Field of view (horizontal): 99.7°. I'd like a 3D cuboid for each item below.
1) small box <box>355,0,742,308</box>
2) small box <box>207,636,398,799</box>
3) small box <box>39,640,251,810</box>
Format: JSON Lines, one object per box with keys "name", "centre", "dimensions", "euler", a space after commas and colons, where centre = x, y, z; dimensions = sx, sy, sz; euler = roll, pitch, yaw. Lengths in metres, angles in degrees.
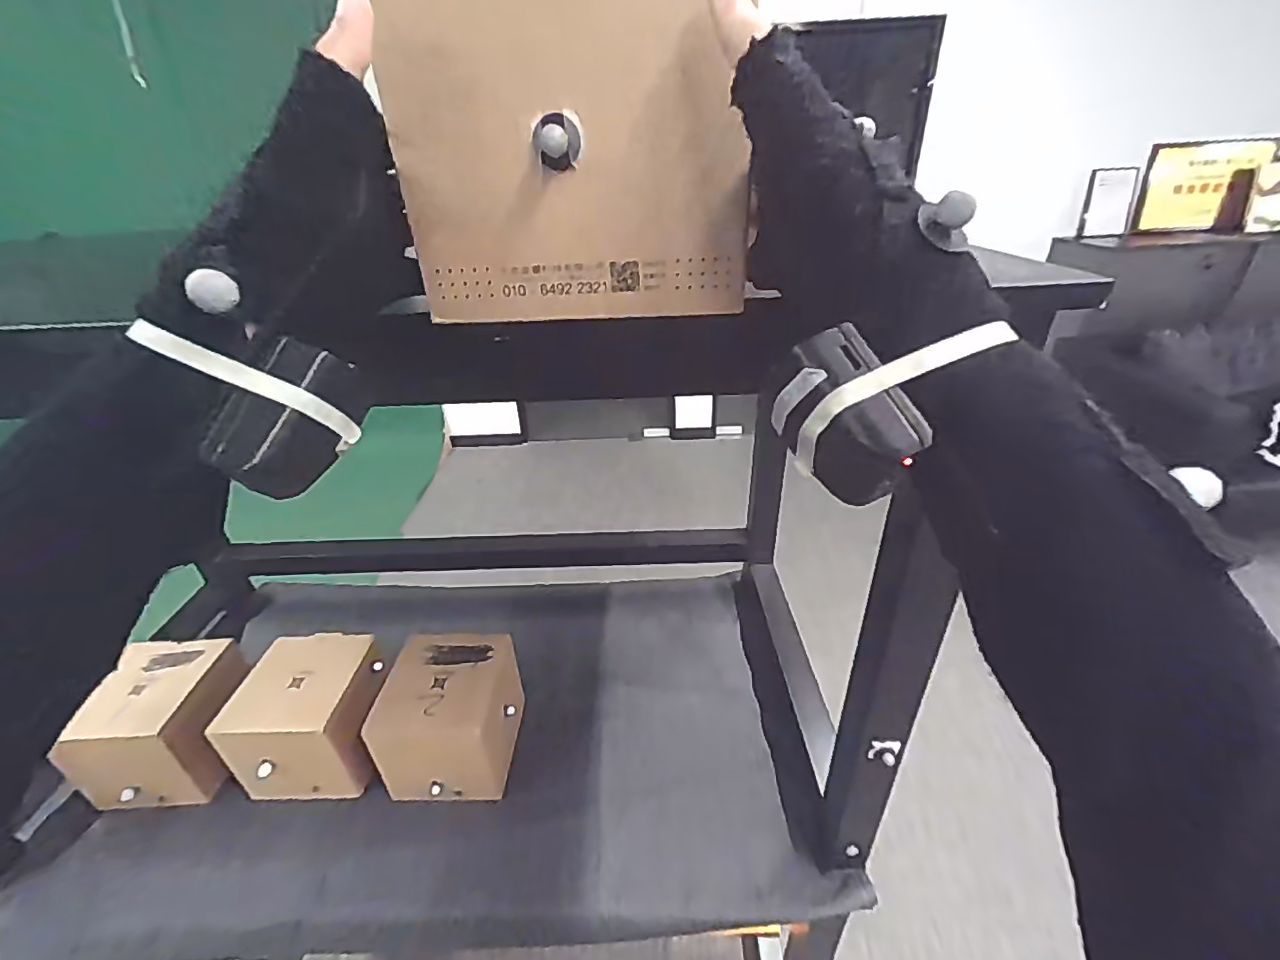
{"name": "small box", "centre": [-0.032, -0.201, 0.318], "dimensions": [0.168, 0.176, 0.179], "euler": [-1, 30, 2]}
{"name": "small box", "centre": [-0.500, 0.367, 0.838], "dimensions": [0.168, 0.176, 0.179], "euler": [-1, 29, 1]}
{"name": "small box", "centre": [-0.727, 0.374, 0.836], "dimensions": [0.168, 0.176, 0.179], "euler": [-3, 30, -1]}
